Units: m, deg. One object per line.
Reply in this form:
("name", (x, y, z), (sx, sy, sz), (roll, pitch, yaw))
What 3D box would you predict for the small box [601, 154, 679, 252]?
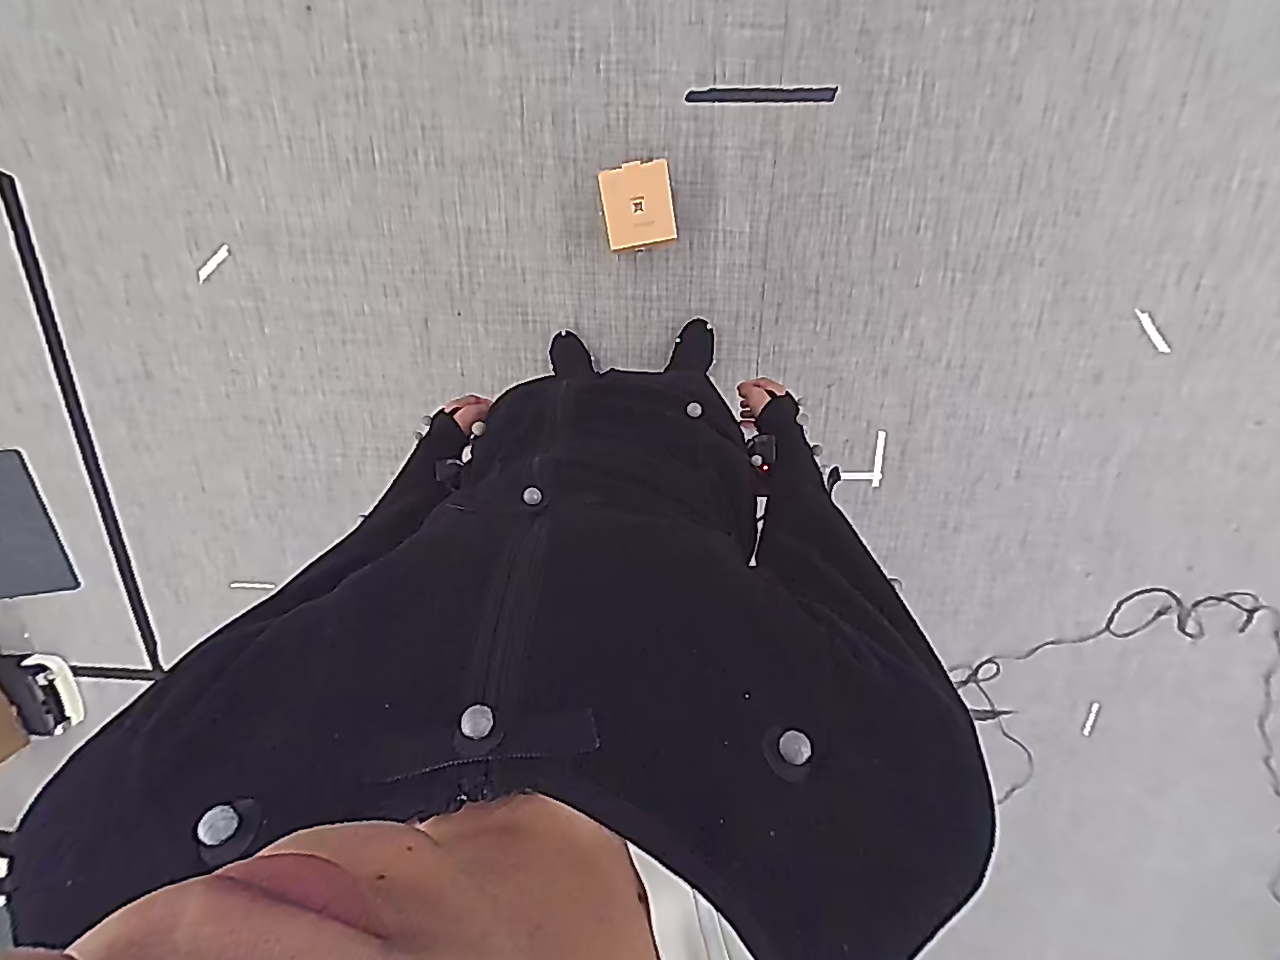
("small box", (0.003, -0.679, 1.344), (0.168, 0.176, 0.179), (-8, 108, 5))
